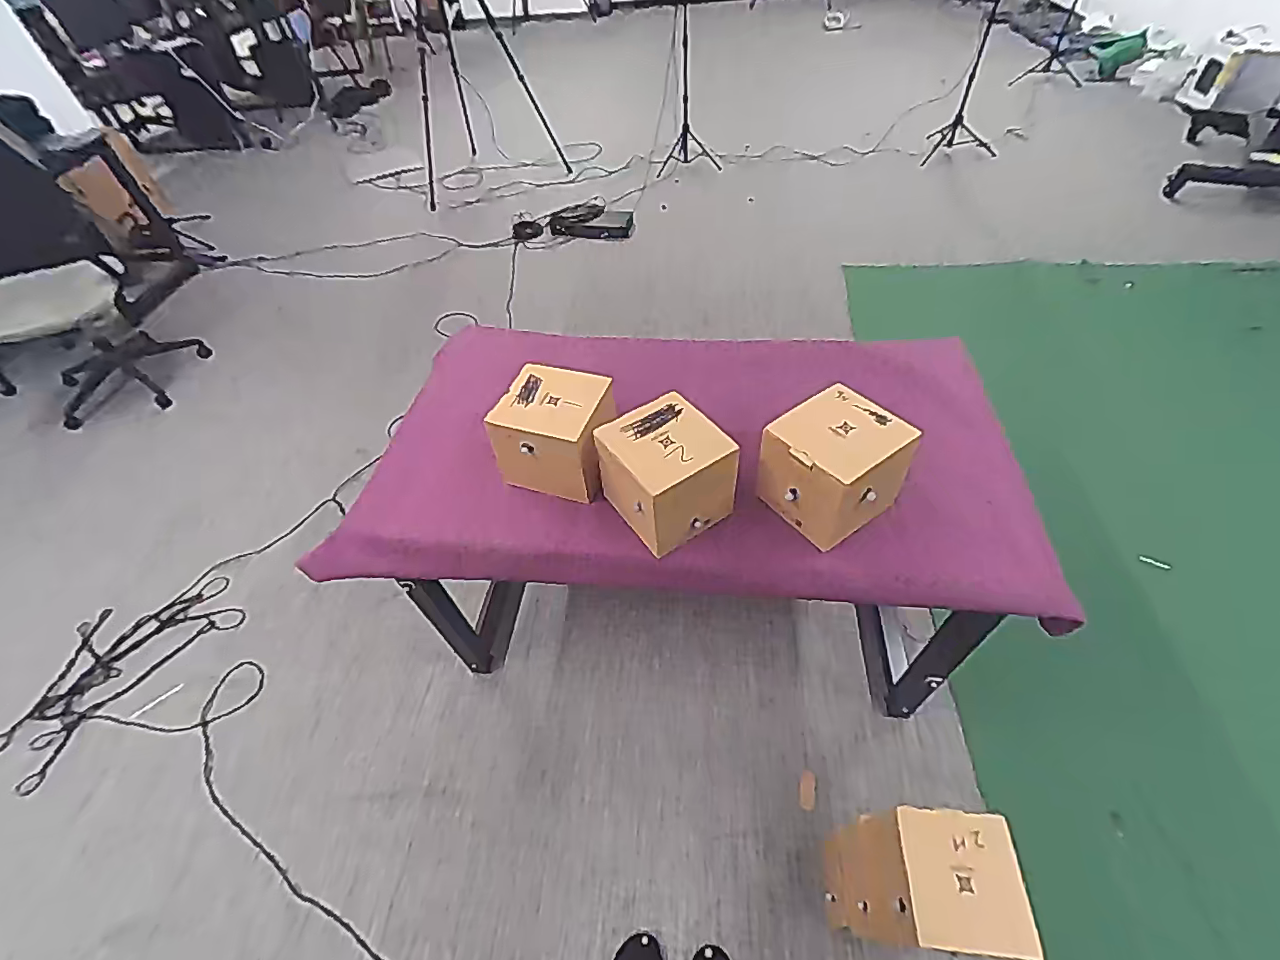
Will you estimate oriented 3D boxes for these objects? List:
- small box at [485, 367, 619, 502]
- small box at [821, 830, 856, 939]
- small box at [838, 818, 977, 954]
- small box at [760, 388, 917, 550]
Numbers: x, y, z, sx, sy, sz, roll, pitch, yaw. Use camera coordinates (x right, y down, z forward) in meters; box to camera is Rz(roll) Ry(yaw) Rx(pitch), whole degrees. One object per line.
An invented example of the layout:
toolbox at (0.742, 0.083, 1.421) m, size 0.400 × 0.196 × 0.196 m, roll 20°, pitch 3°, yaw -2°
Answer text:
small box at (-0.151, -0.081, 0.997) m, size 0.179 × 0.176 × 0.168 m, roll 13°, pitch 52°, yaw 15°
small box at (0.477, 0.842, 1.113) m, size 0.179 × 0.176 × 0.168 m, roll 4°, pitch 50°, yaw 7°
small box at (0.472, 0.740, 0.988) m, size 0.168 × 0.176 × 0.179 m, roll 2°, pitch 51°, yaw 6°
small box at (0.316, -0.015, 0.899) m, size 0.179 × 0.176 × 0.168 m, roll -30°, pitch 53°, yaw -19°
